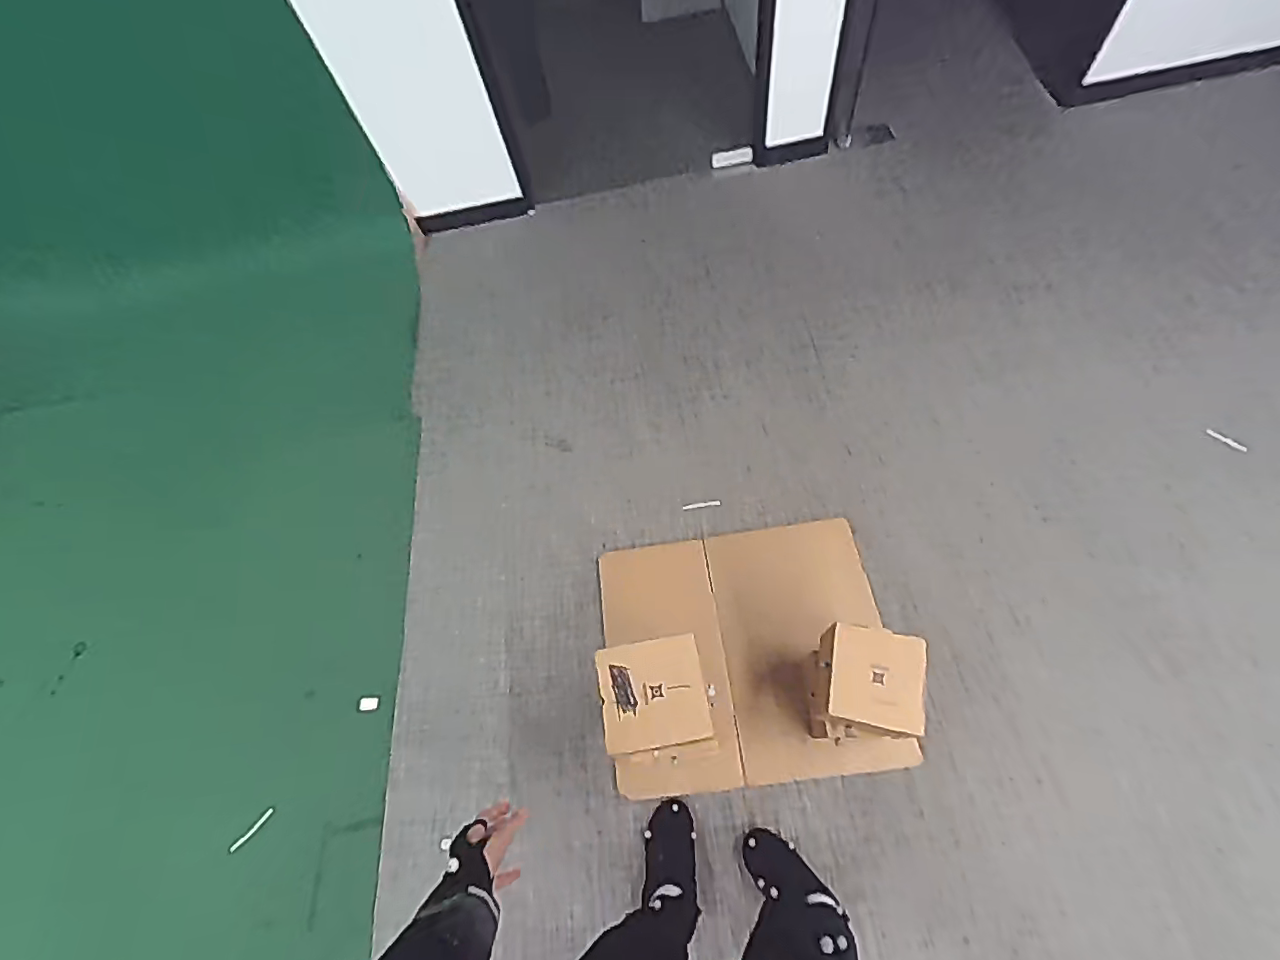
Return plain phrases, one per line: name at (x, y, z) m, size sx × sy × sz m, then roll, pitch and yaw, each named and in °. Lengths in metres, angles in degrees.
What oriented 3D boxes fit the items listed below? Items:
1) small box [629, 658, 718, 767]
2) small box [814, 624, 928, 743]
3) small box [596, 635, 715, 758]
small box at (0.062, 0.467, 1.085) m, size 0.168 × 0.176 × 0.179 m, roll -10°, pitch 62°, yaw 2°
small box at (0.447, 0.403, 1.062) m, size 0.168 × 0.176 × 0.179 m, roll 10°, pitch 65°, yaw 12°
small box at (0.031, 0.384, 0.946) m, size 0.179 × 0.176 × 0.168 m, roll -11°, pitch 62°, yaw 2°
